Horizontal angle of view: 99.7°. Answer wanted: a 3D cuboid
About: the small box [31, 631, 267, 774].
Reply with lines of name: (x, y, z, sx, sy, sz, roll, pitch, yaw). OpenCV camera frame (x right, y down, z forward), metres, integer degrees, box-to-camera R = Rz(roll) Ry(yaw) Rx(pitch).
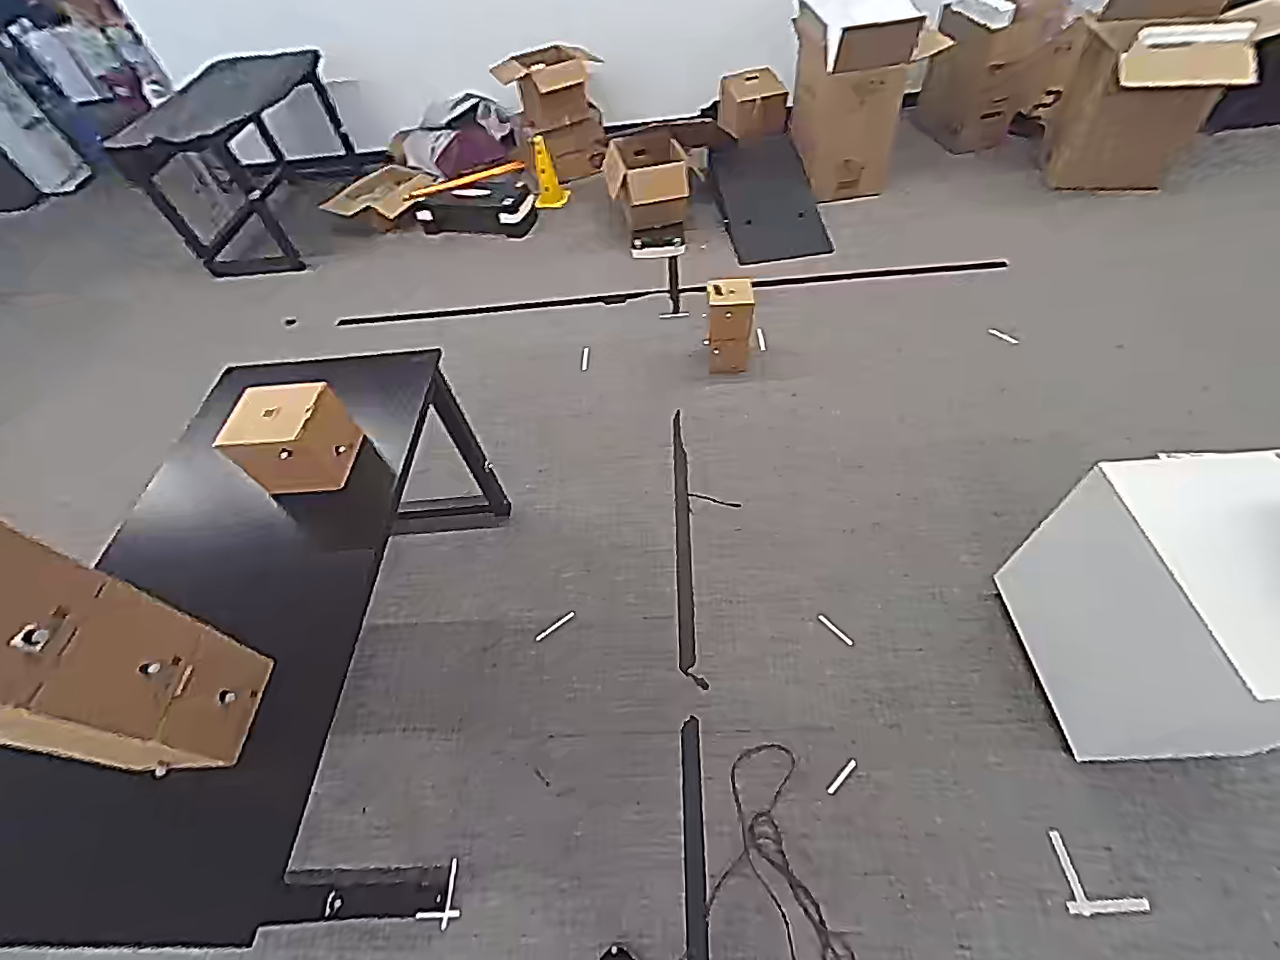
small box: (-0.729, 0.346, 0.833, 0.179, 0.176, 0.168, -5, 52, 3)

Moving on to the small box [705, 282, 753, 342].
small box: (0.356, -0.676, 2.187, 0.179, 0.176, 0.168, -3, 52, 3)

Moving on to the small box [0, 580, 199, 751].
small box: (-0.747, 0.246, 0.703, 0.179, 0.176, 0.168, -4, 53, 3)

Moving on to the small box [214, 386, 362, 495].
small box: (-0.740, -0.080, 1.160, 0.179, 0.176, 0.168, -4, 53, 4)

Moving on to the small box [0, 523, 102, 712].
small box: (-0.762, 0.147, 0.575, 0.179, 0.176, 0.168, -5, 54, 3)
